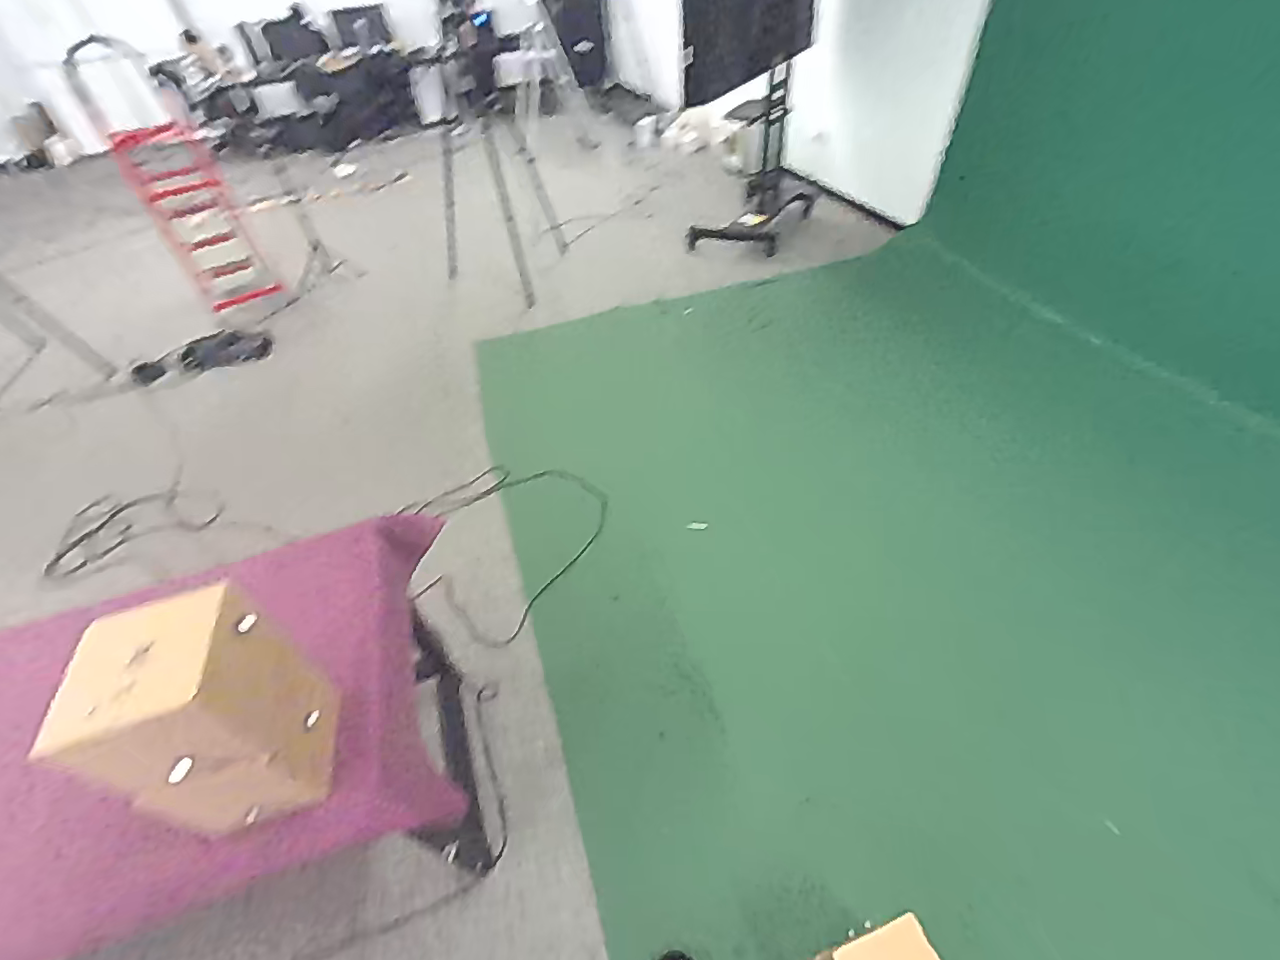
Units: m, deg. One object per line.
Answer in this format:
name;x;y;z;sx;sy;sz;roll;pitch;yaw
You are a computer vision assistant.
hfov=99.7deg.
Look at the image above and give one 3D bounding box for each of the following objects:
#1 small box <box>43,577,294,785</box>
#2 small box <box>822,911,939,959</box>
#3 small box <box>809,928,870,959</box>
small box;-0.589;0.264;0.711;0.168;0.176;0.179;-17;46;-9
small box;0.452;0.930;0.986;0.179;0.176;0.168;-16;45;-11
small box;0.462;1.042;1.102;0.179;0.176;0.168;-16;46;-10
